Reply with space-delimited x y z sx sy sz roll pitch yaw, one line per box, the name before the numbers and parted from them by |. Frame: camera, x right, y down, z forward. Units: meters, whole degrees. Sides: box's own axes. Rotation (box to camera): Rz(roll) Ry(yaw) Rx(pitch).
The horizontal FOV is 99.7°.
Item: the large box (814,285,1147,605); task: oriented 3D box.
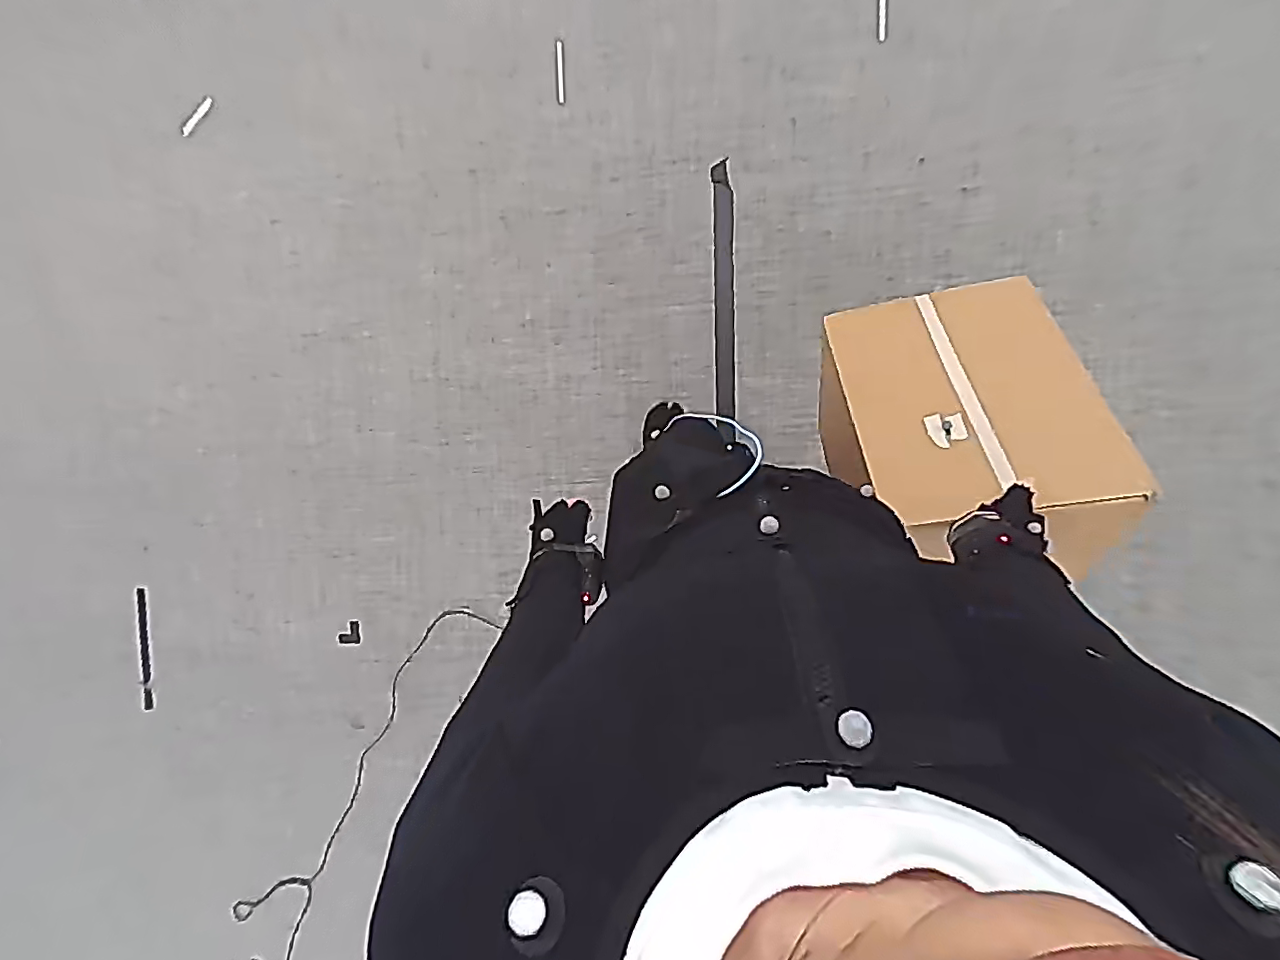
large box | 0.489 -0.045 0.902 0.320 0.320 0.408 -10 57 12
